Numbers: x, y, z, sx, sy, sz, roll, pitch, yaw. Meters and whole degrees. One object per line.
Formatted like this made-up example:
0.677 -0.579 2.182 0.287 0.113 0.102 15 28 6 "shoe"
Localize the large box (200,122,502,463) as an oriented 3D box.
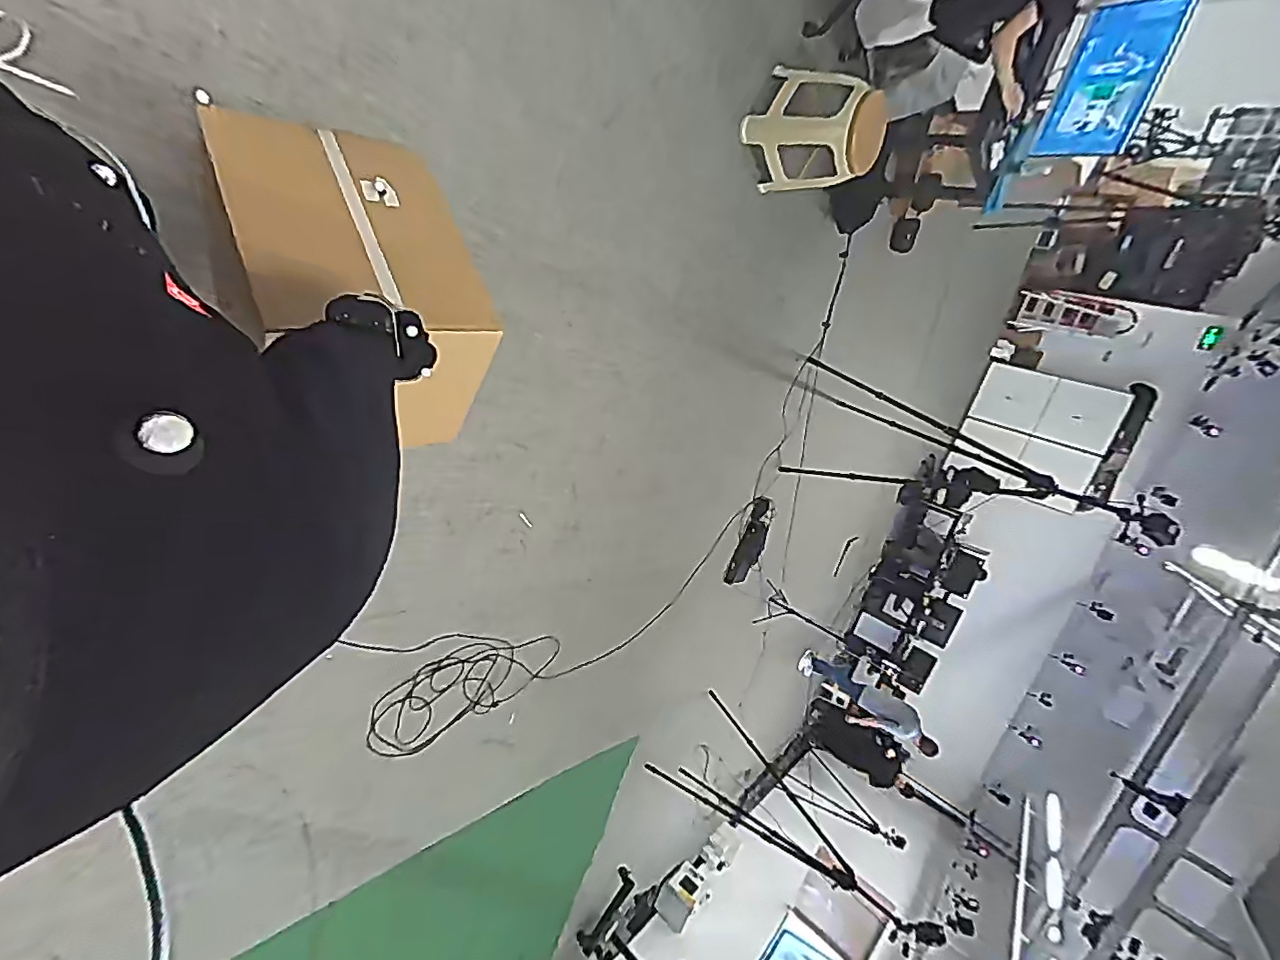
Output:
-0.486 -0.292 0.908 0.320 0.408 0.320 -13 158 -40 "large box"
